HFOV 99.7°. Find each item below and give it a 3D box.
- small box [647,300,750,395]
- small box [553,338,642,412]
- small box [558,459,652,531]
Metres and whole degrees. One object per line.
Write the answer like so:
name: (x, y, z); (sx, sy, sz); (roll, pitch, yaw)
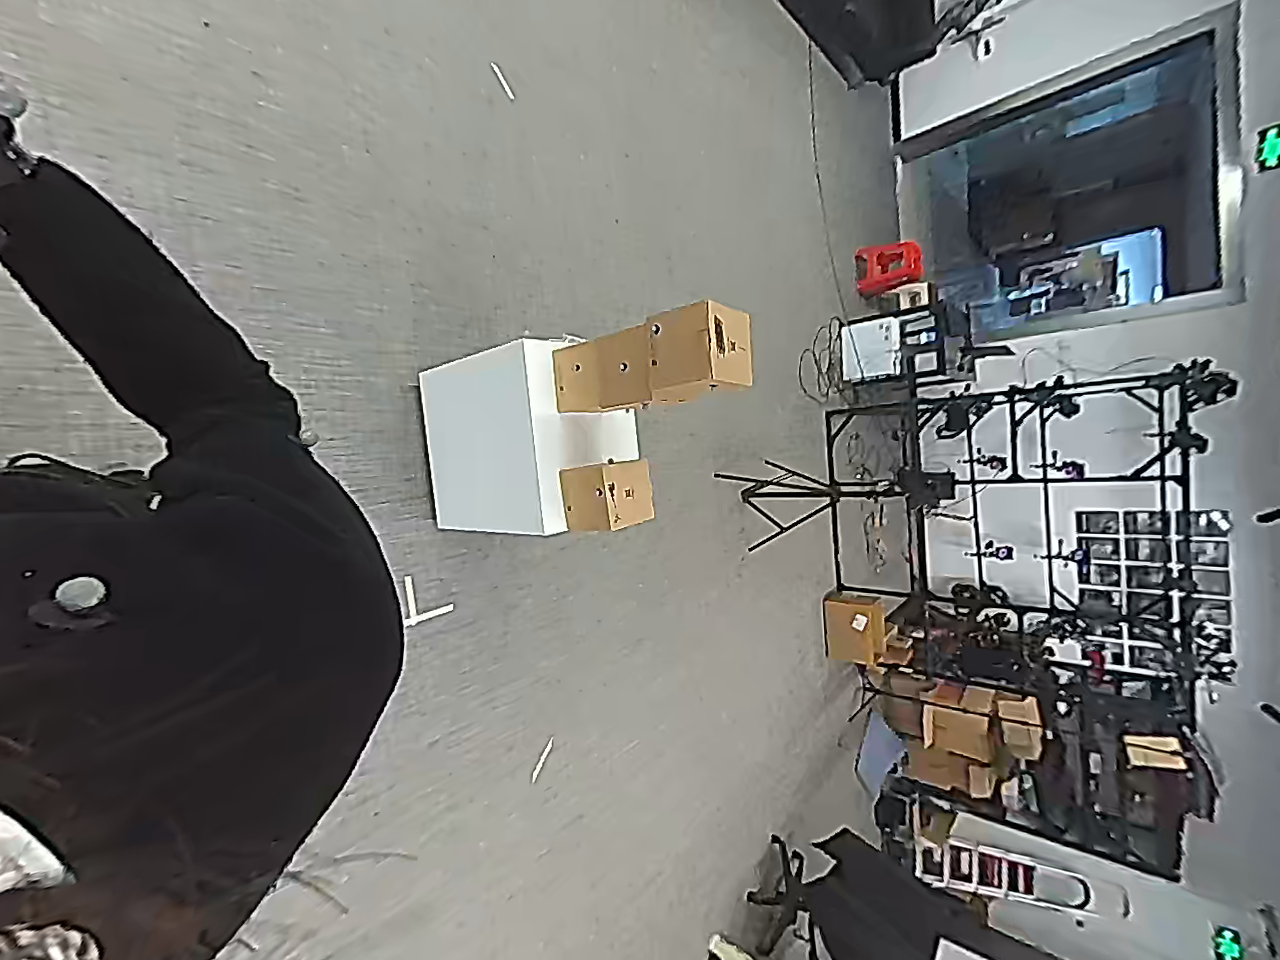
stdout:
small box: (0.127, -0.288, 1.217); (0.179, 0.176, 0.168); (-4, 92, -50)
small box: (-0.118, -0.271, 1.437); (0.179, 0.176, 0.168); (-9, 96, -49)
small box: (-0.093, 0.037, 1.447); (0.179, 0.176, 0.168); (-14, 97, -49)
